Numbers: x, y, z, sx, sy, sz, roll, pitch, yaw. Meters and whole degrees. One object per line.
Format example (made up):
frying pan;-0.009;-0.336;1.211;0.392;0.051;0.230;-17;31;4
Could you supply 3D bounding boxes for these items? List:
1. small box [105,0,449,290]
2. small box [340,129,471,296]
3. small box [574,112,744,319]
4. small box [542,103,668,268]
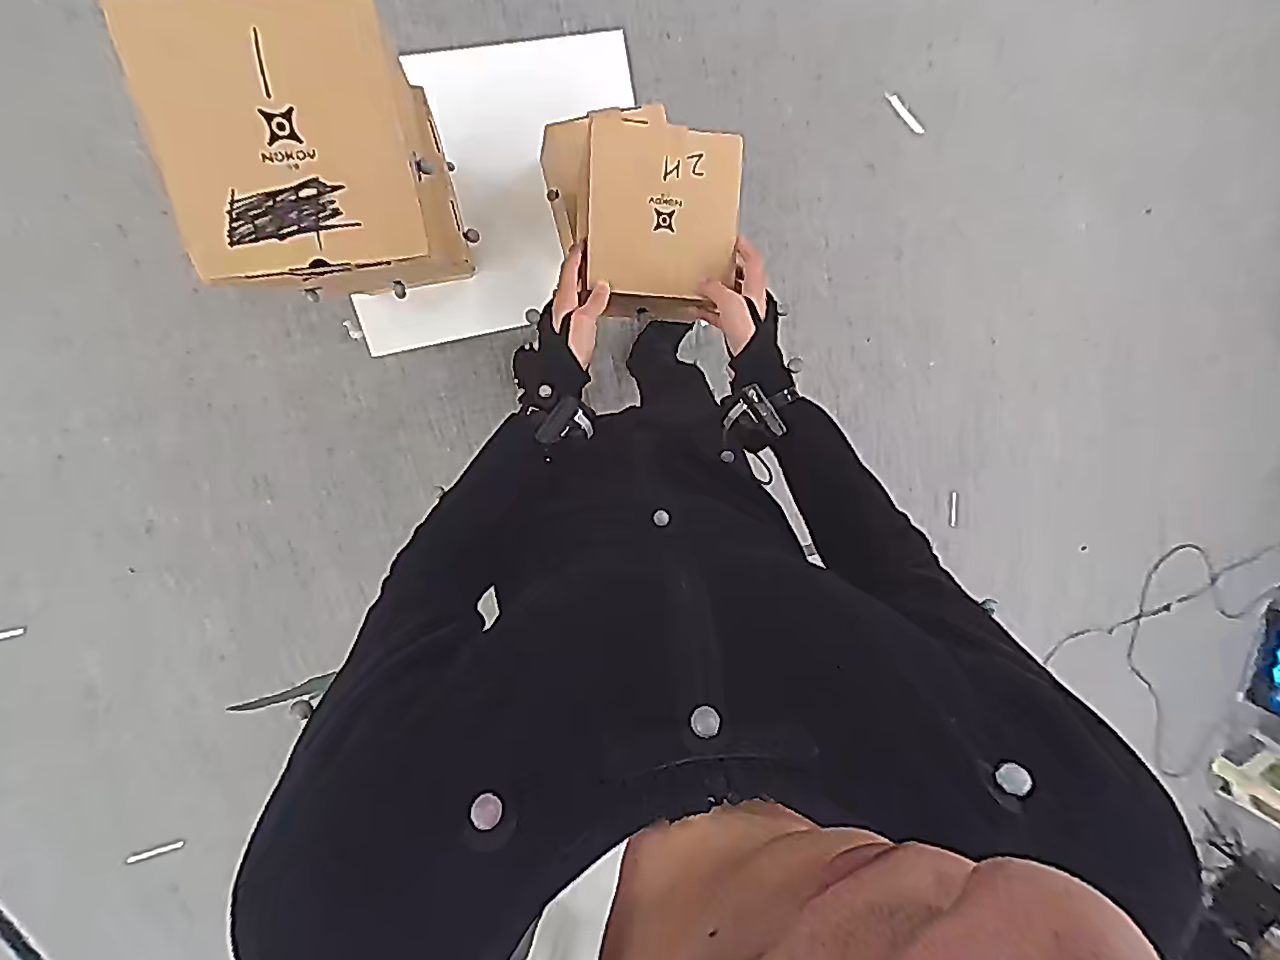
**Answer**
small box;-0.268;-0.259;0.457;0.168;0.176;0.179;-11;108;-11
small box;-0.342;-0.362;0.761;0.168;0.176;0.179;-14;110;-10
small box;0.011;-0.296;0.650;0.168;0.176;0.179;0;98;-12
small box;-0.045;-0.427;0.815;0.168;0.176;0.179;-16;110;-8
